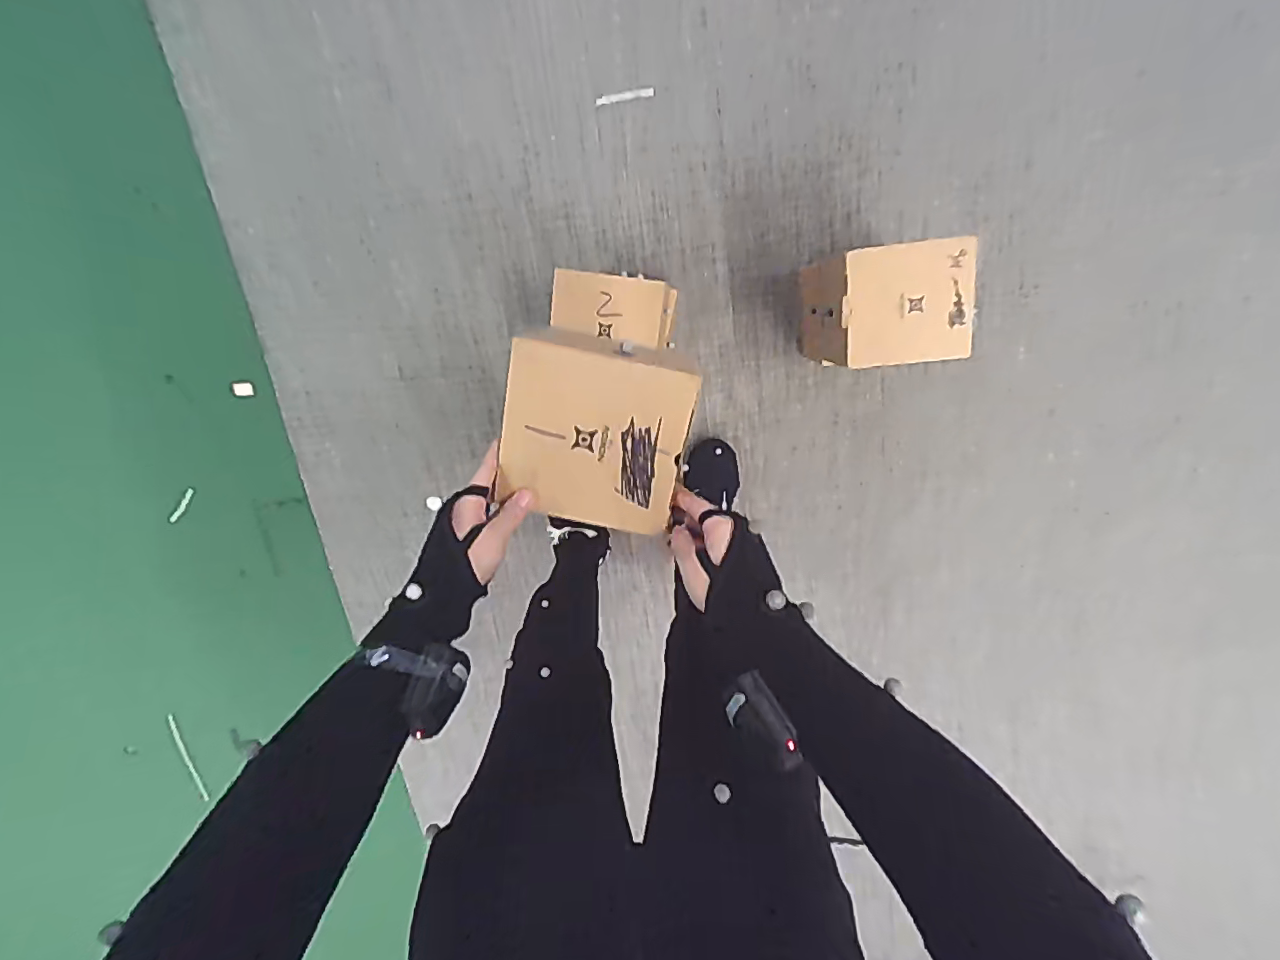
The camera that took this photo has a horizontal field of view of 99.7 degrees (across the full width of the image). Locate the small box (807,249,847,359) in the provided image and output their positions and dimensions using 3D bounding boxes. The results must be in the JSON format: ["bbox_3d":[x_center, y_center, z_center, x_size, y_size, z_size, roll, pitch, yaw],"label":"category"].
[{"bbox_3d":[0.399,-0.319,0.966,0.168,0.176,0.179,-4,107,8],"label":"small box"}]

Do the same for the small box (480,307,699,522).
[{"bbox_3d":[-0.047,-0.079,0.568,0.179,0.176,0.168,14,110,-2],"label":"small box"}]

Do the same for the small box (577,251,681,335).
[{"bbox_3d":[-0.021,-0.311,1.014,0.168,0.176,0.179,15,109,1],"label":"small box"}]

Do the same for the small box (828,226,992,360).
[{"bbox_3d":[0.386,-0.273,0.809,0.179,0.176,0.168,-2,108,8],"label":"small box"}]
